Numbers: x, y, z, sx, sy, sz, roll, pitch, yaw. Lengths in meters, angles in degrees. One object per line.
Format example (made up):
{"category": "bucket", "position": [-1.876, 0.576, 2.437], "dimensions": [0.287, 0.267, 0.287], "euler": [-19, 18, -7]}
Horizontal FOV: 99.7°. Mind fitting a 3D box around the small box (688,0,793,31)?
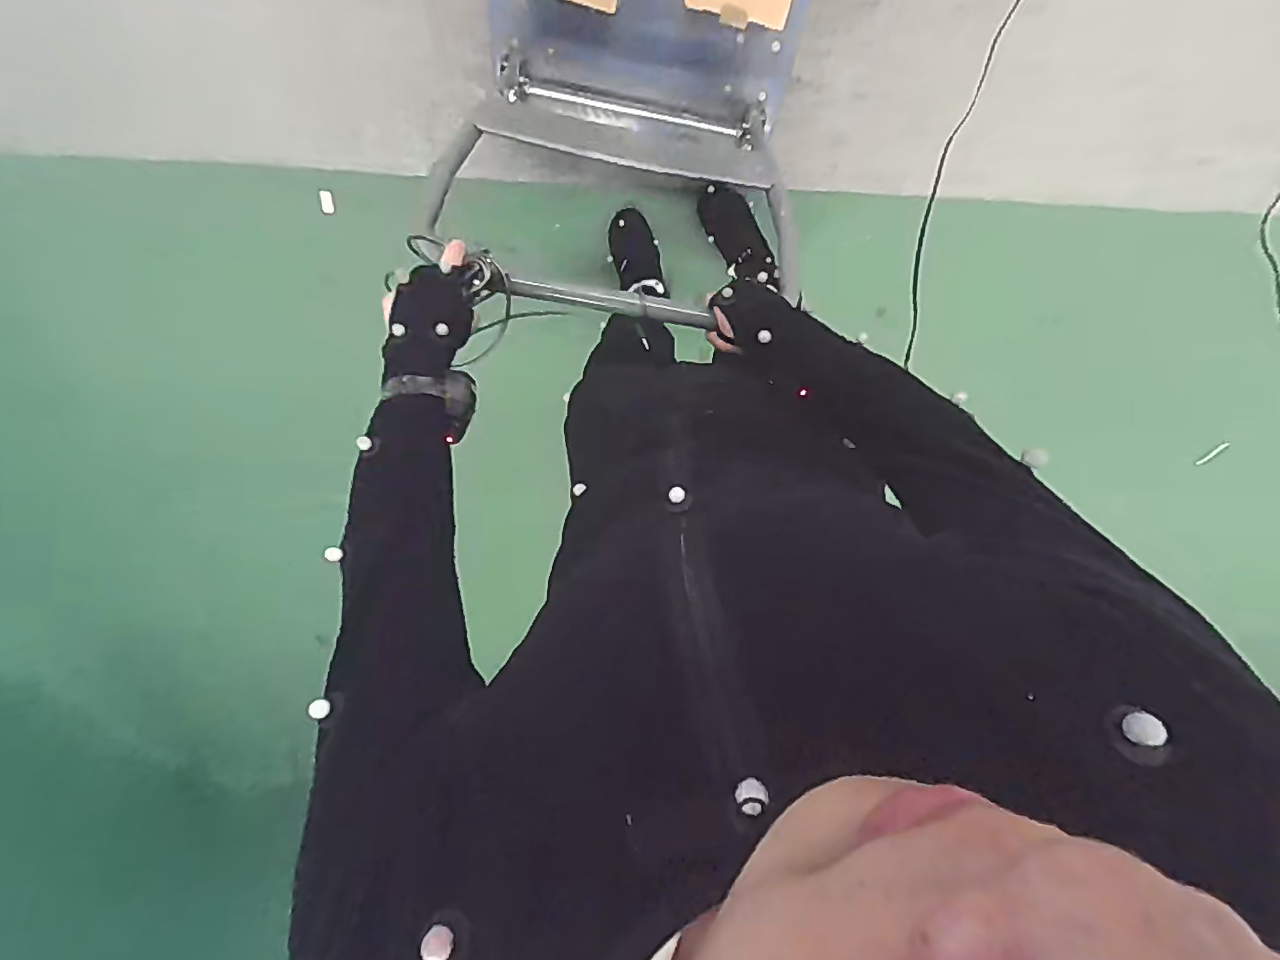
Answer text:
{"category": "small box", "position": [0.171, -0.851, 0.855], "dimensions": [0.168, 0.176, 0.179], "euler": [9, 137, -5]}
